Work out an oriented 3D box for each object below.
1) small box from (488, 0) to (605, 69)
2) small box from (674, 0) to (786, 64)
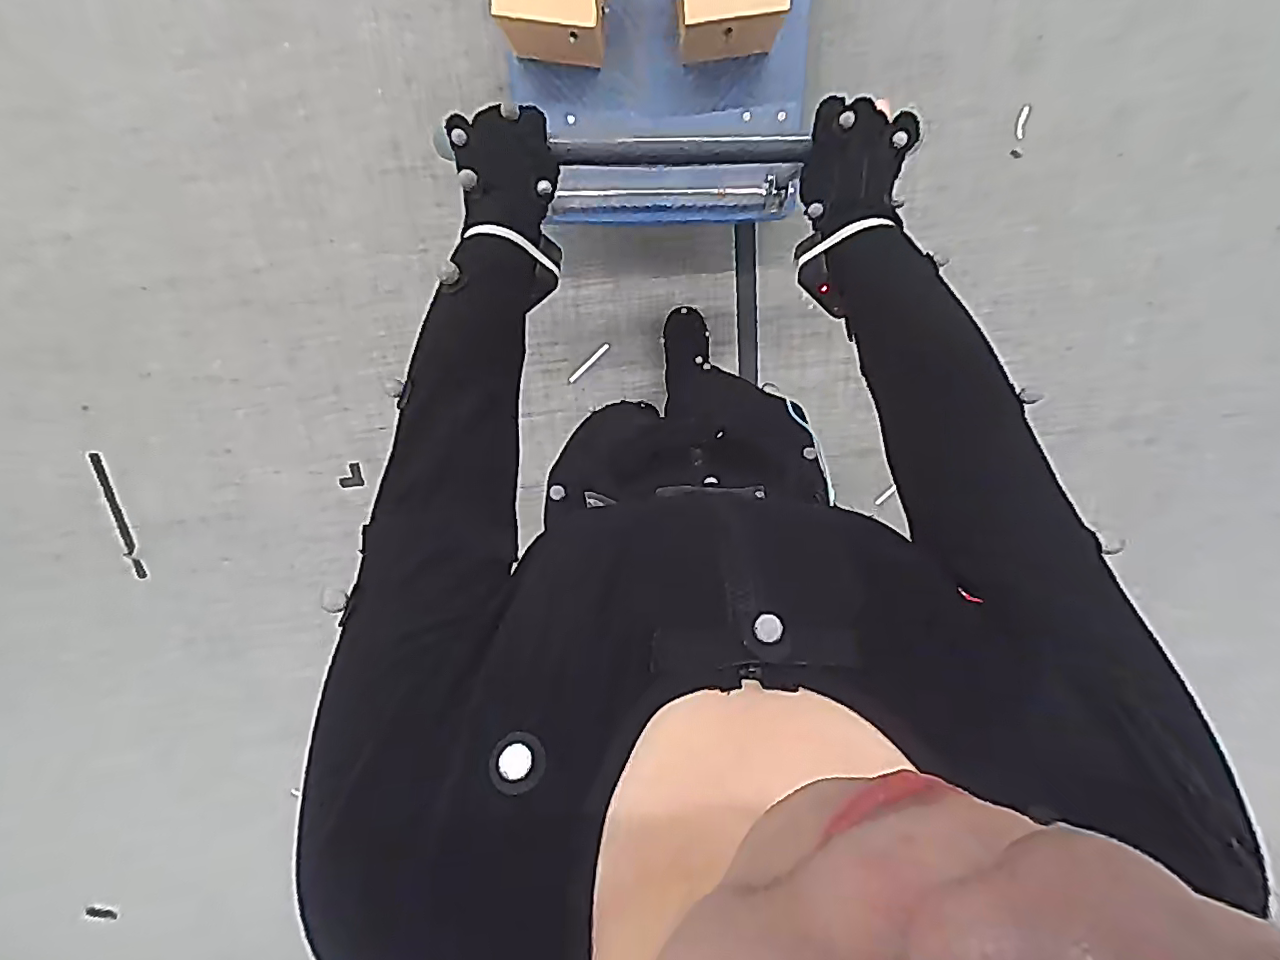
[{"bbox_3d":[-0.156,-0.852,0.944,0.179,0.176,0.168,5,109,-2],"label":"small box"},{"bbox_3d":[0.148,-0.855,0.937,0.179,0.176,0.168,-6,110,3],"label":"small box"}]
